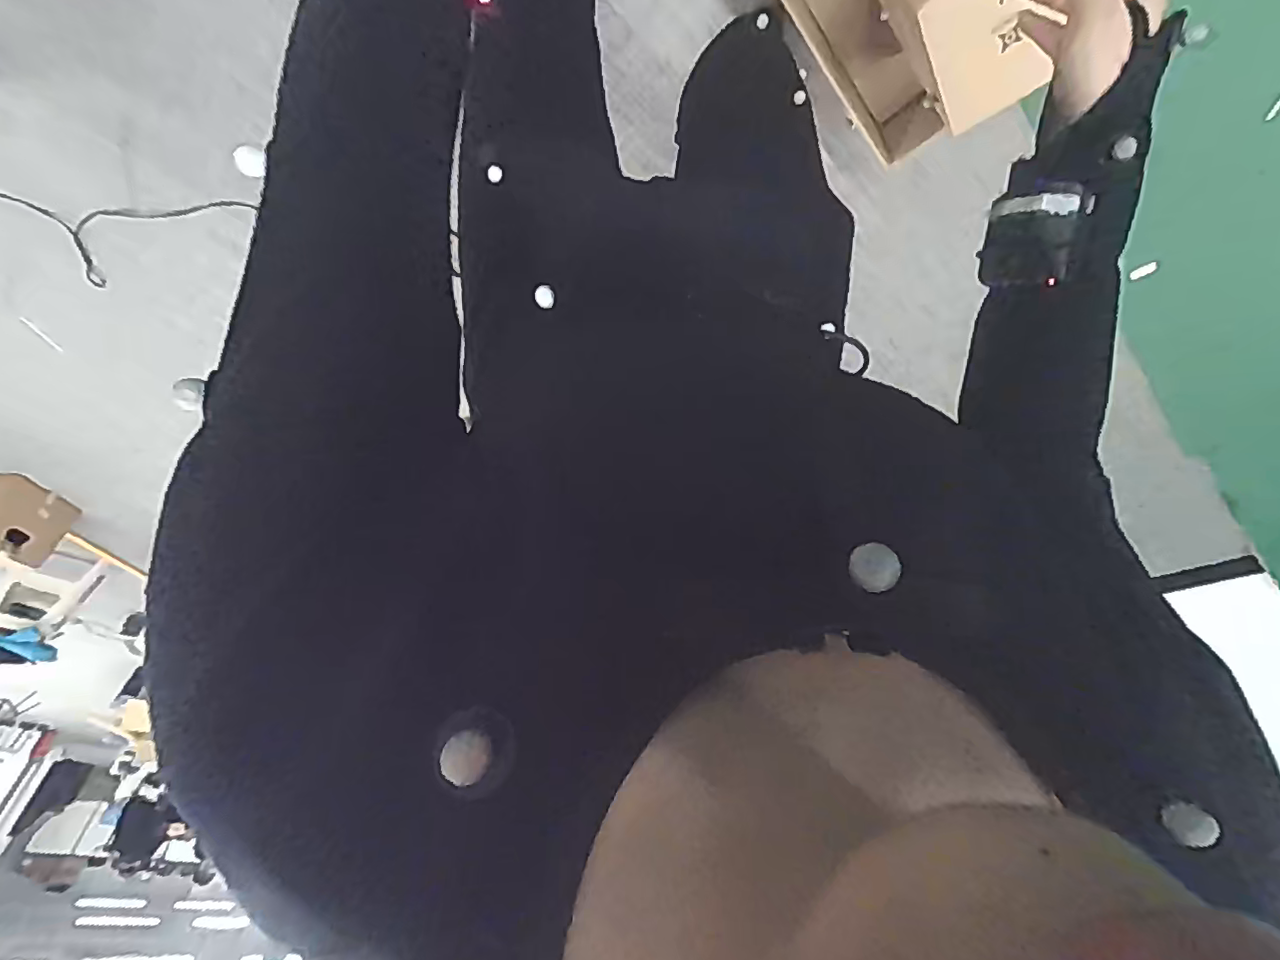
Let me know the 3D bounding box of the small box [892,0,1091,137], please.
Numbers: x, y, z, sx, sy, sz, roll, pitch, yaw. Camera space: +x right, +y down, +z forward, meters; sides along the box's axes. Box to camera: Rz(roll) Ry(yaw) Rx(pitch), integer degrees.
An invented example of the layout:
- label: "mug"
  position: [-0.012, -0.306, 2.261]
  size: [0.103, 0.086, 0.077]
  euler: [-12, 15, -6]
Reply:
- label: "small box"
  position: [0.439, -0.600, 0.691]
  size: [0.168, 0.176, 0.179]
  euler: [-22, 136, 32]

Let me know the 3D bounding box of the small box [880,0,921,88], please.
- label: "small box"
  position: [0.453, -0.735, 0.784]
  size: [0.179, 0.176, 0.168]
  euler: [-21, 136, 33]
